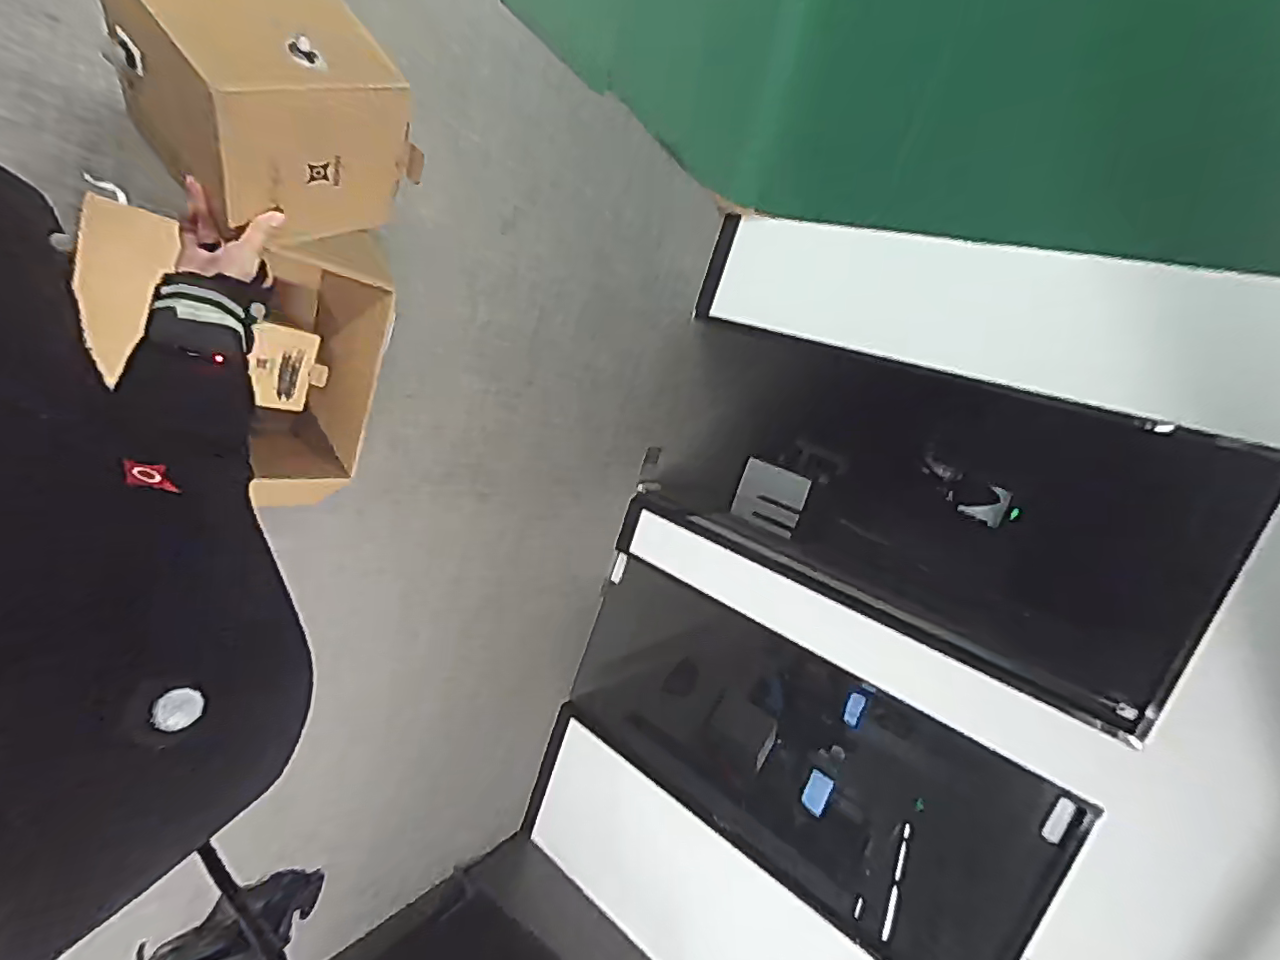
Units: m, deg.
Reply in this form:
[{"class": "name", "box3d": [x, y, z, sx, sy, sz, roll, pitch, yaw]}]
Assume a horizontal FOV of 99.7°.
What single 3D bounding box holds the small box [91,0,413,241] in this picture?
[{"class": "small box", "box3d": [-0.349, -0.362, 0.503, 0.179, 0.176, 0.168, -38, 179, -39]}]
